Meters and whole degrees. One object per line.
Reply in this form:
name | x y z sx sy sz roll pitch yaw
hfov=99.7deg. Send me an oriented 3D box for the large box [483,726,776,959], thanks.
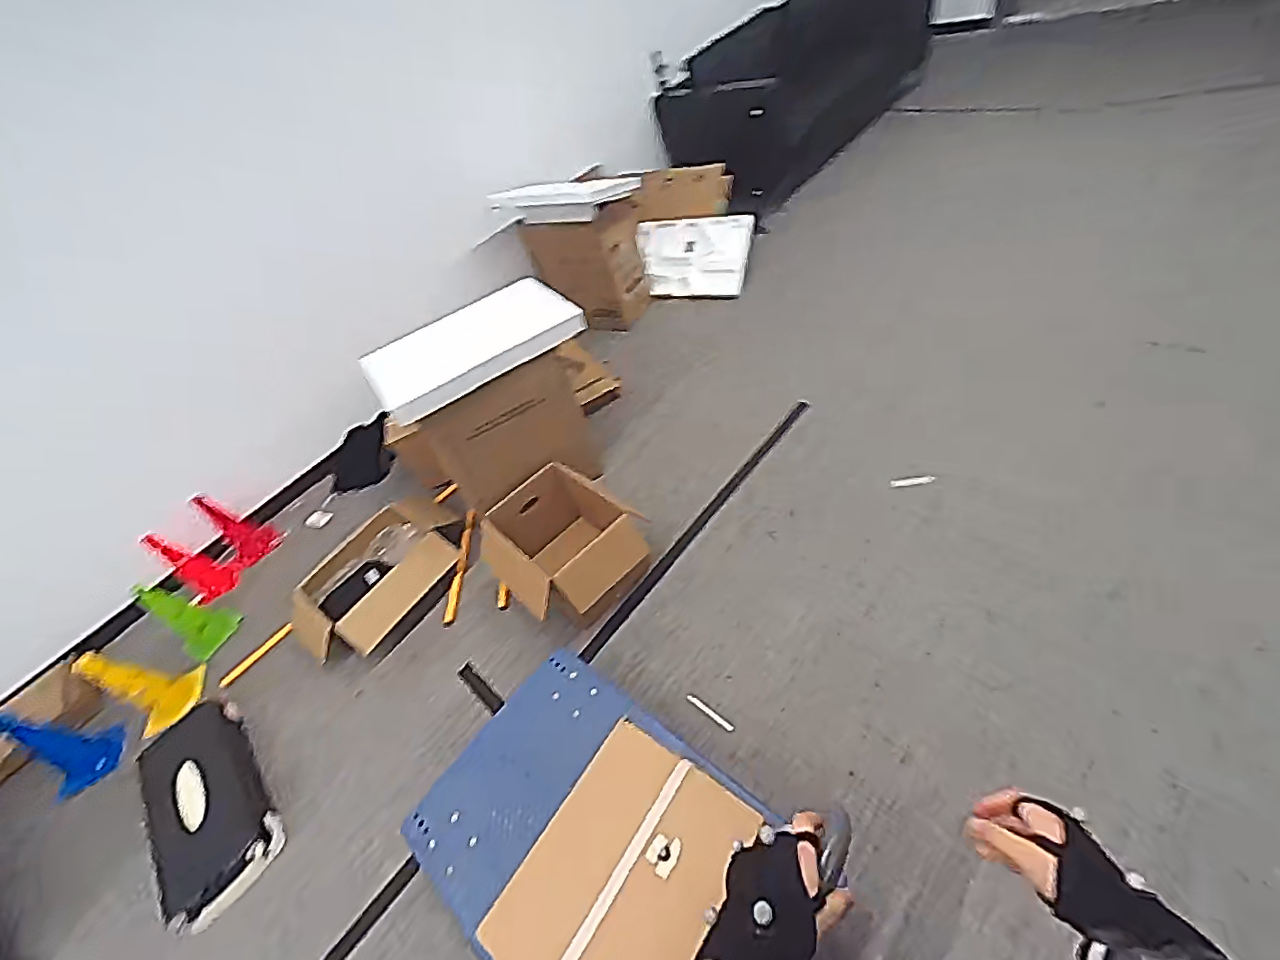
large box | 0.009 0.754 0.976 0.320 0.320 0.408 20 56 34
